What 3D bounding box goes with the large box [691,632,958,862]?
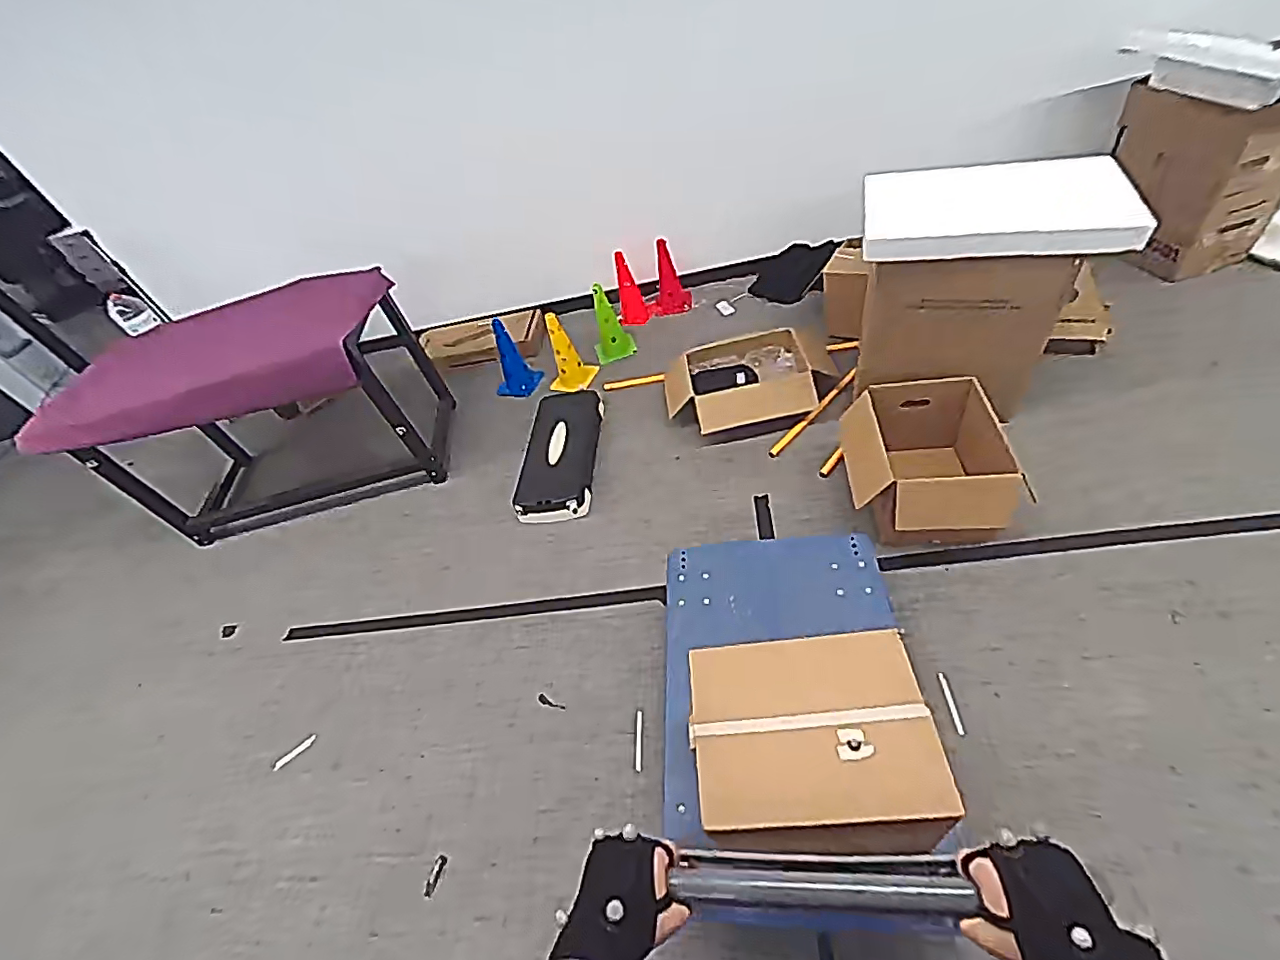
[{"bbox_3d":[0.327,0.535,1.069,0.408,0.320,0.320,-8,47,8],"label":"large box"}]
